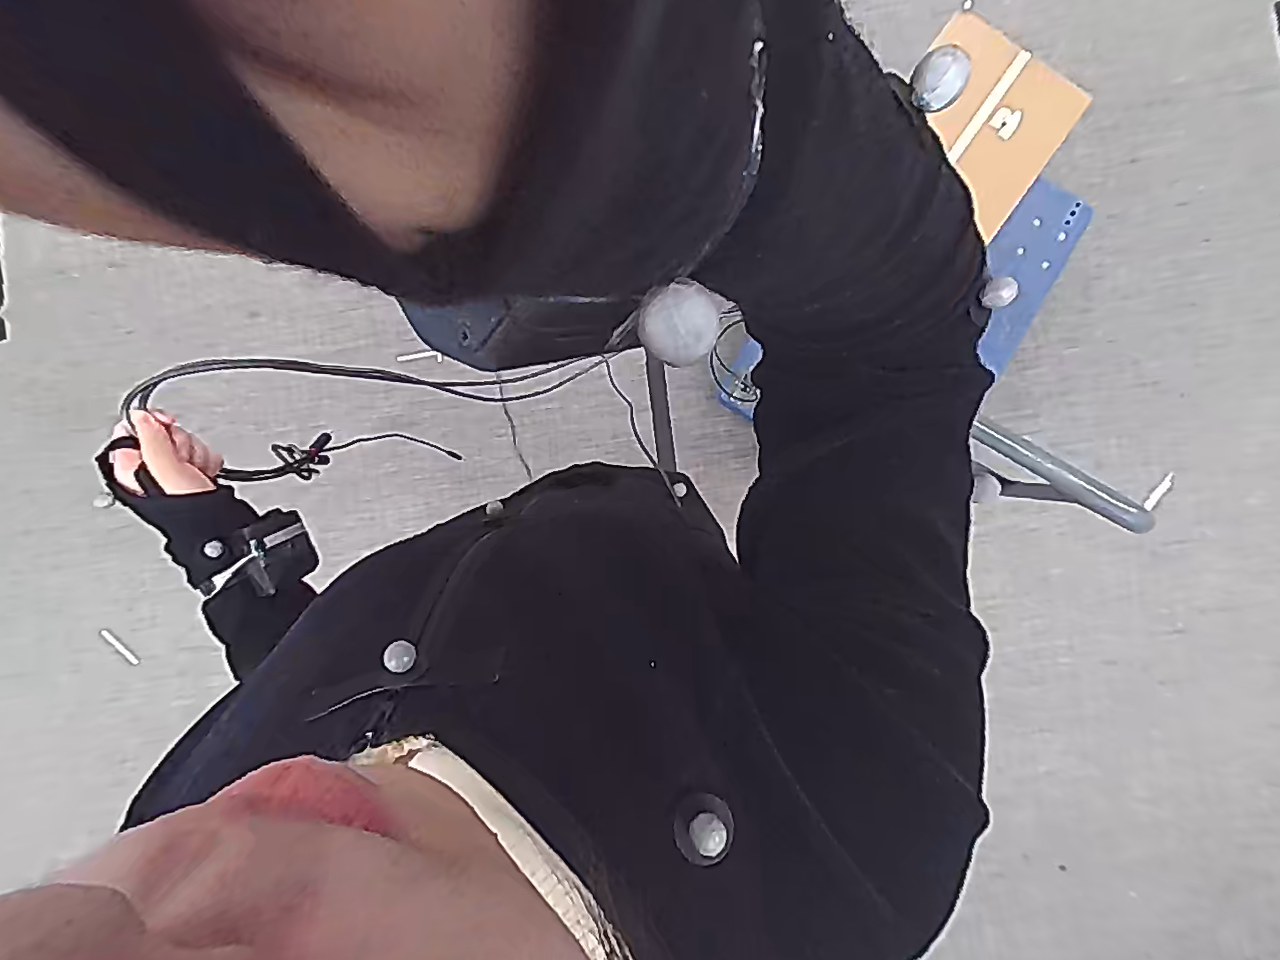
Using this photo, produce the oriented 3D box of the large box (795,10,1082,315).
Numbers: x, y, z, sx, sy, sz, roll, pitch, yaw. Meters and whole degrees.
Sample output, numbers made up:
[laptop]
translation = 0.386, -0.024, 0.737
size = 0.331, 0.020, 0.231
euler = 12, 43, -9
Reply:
[large box]
translation = 0.606, -0.646, 1.173
size = 0.320, 0.320, 0.408
euler = 35, 89, 0
